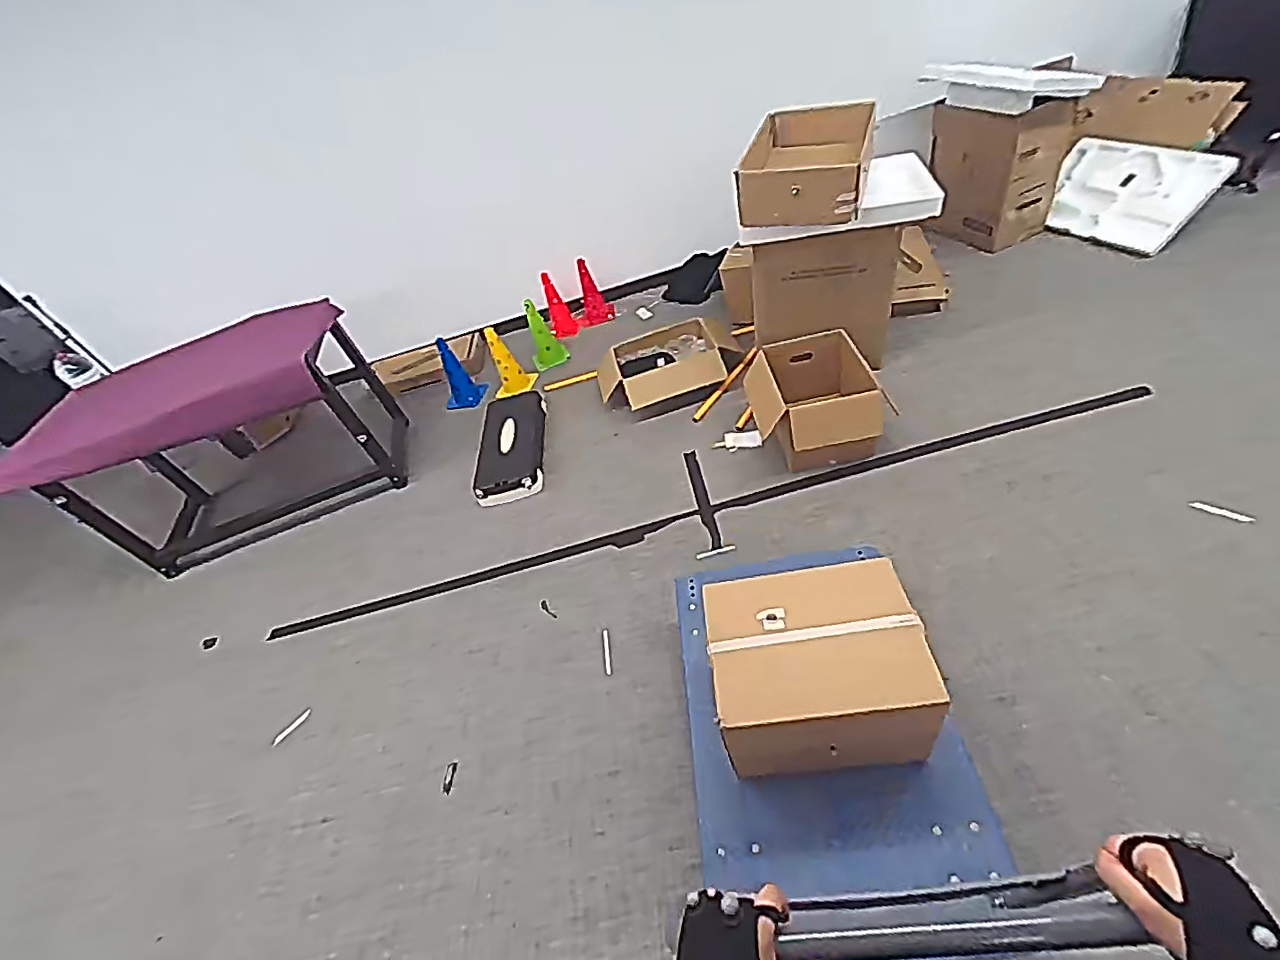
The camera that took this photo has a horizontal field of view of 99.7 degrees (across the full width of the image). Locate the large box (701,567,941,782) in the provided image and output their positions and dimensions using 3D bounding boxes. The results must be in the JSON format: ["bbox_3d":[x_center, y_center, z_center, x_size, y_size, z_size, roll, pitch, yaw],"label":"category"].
[{"bbox_3d":[0.372,0.434,1.185,0.408,0.320,0.320,-12,43,9],"label":"large box"}]
